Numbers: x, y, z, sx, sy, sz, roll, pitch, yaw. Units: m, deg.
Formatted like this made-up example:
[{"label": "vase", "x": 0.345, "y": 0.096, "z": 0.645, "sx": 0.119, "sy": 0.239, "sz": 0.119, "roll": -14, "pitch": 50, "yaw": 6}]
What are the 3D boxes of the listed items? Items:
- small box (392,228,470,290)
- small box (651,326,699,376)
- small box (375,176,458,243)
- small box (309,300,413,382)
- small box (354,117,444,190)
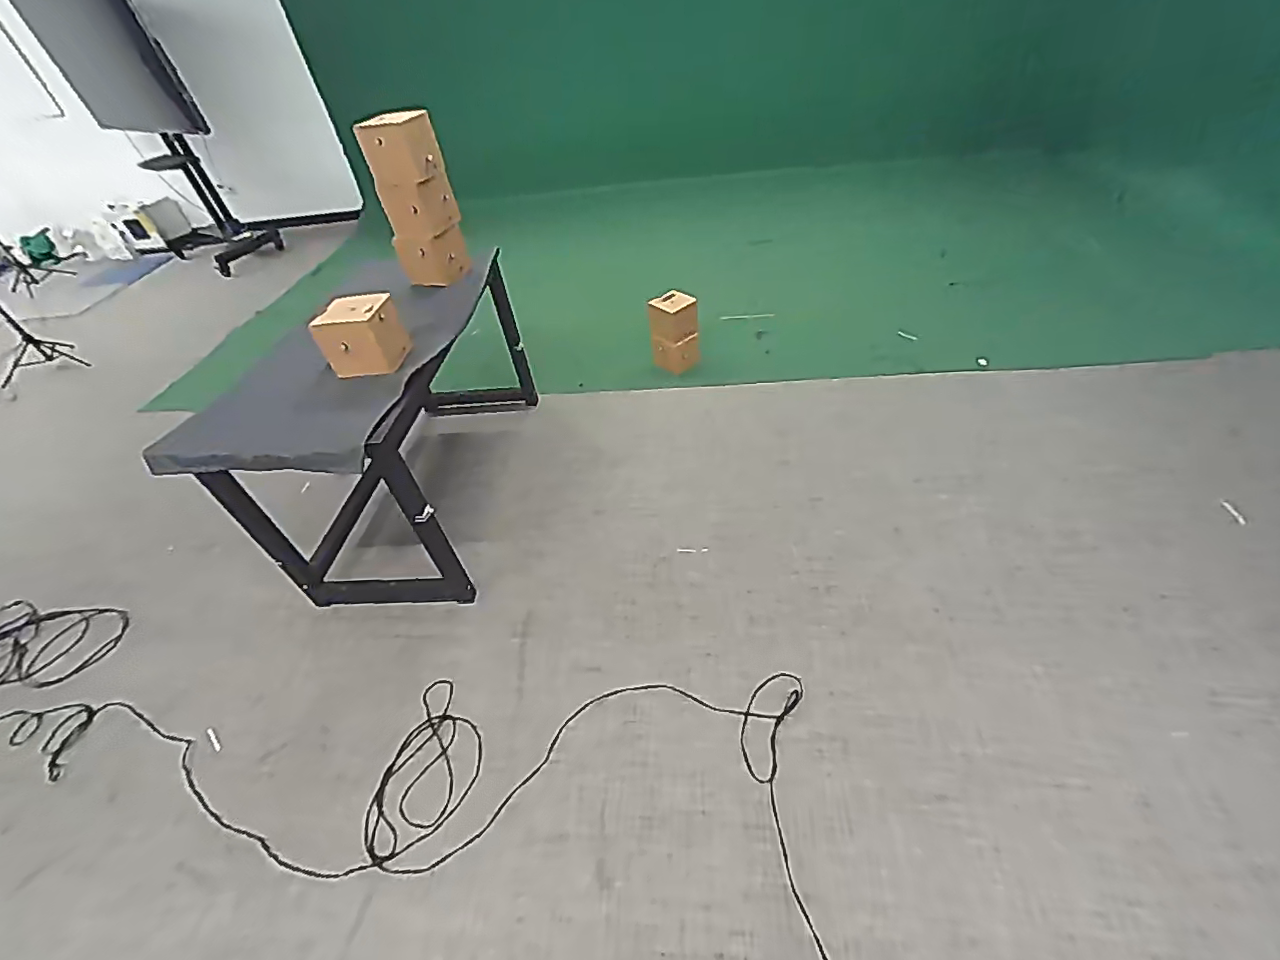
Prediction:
[{"label": "small box", "x": -0.751, "y": -0.804, "z": 1.965, "sx": 0.179, "sy": 0.176, "sz": 0.168, "roll": 11, "pitch": 47, "yaw": 23}, {"label": "small box", "x": 0.180, "y": -0.640, "z": 2.707, "sx": 0.168, "sy": 0.176, "sz": 0.179, "roll": -34, "pitch": 48, "yaw": -24}, {"label": "small box", "x": -0.761, "y": -0.933, "z": 1.866, "sx": 0.179, "sy": 0.176, "sz": 0.168, "roll": 7, "pitch": 45, "yaw": 19}, {"label": "small box", "x": -0.789, "y": -0.395, "z": 1.552, "sx": 0.179, "sy": 0.176, "sz": 0.168, "roll": -4, "pitch": 44, "yaw": 8}, {"label": "small box", "x": -0.776, "y": -1.057, "z": 1.758, "sx": 0.179, "sy": 0.176, "sz": 0.168, "roll": 3, "pitch": 45, "yaw": 14}]
